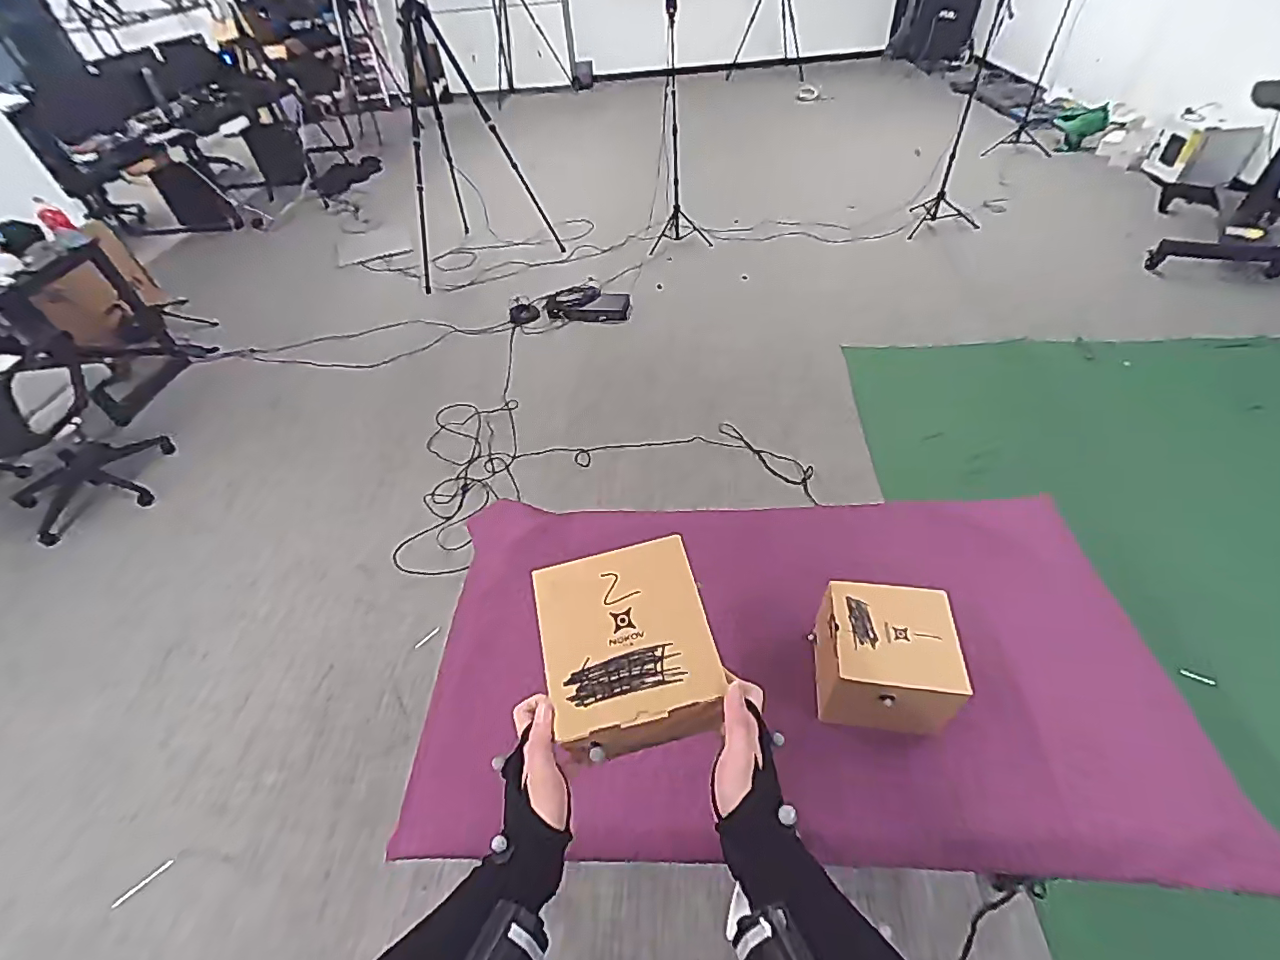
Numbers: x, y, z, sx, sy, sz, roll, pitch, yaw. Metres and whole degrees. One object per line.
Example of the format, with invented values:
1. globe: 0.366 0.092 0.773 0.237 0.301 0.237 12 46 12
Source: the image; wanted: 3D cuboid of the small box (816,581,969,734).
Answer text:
1. small box: 0.379 0.281 0.852 0.179 0.176 0.168 5 47 9
